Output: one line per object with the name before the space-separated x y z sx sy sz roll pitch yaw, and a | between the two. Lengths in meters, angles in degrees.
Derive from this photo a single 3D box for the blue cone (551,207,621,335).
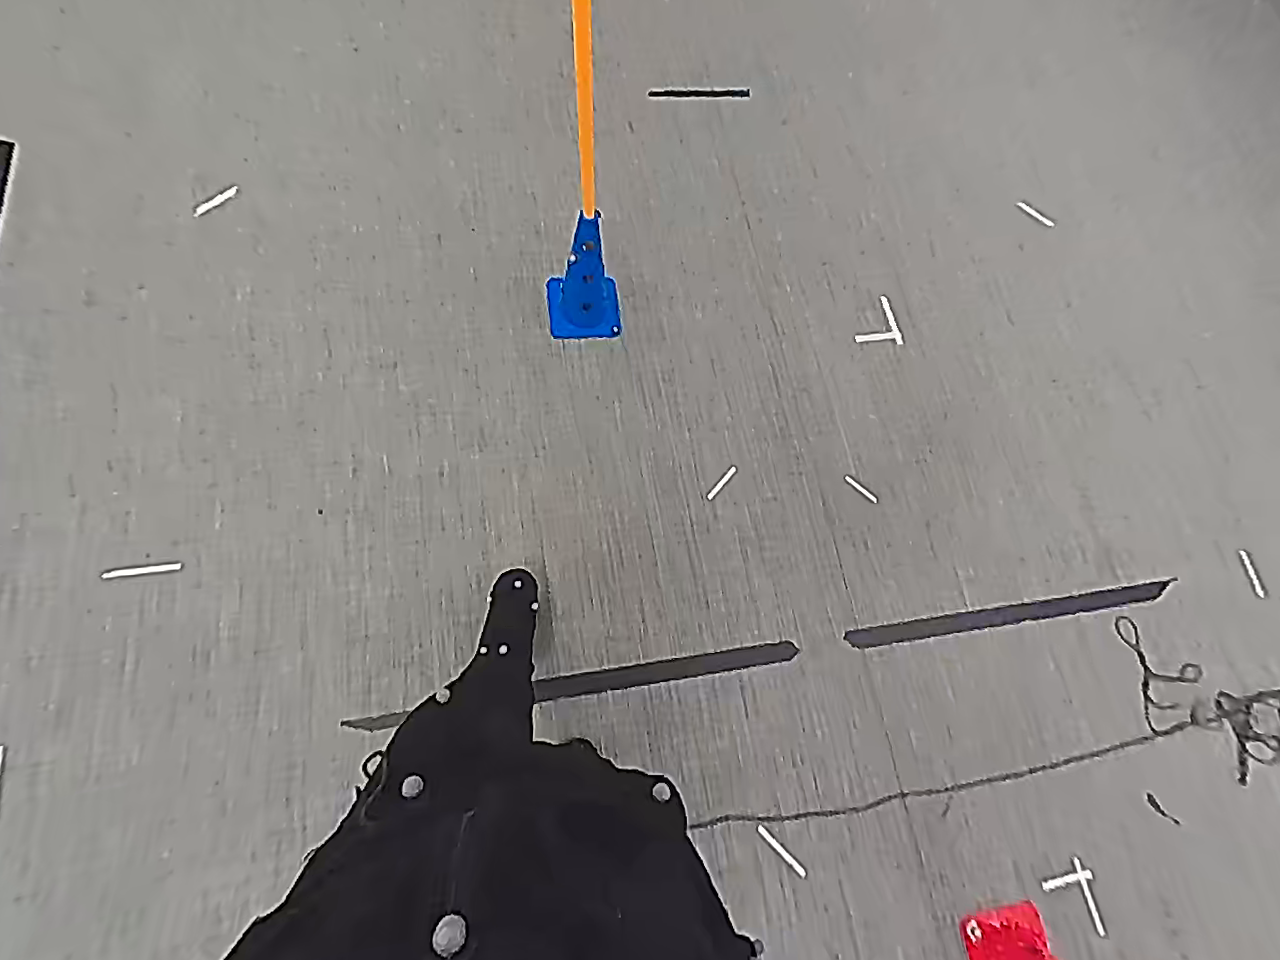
blue cone | -0.132 -0.545 1.388 0.192 0.380 0.193 -3 74 -10
